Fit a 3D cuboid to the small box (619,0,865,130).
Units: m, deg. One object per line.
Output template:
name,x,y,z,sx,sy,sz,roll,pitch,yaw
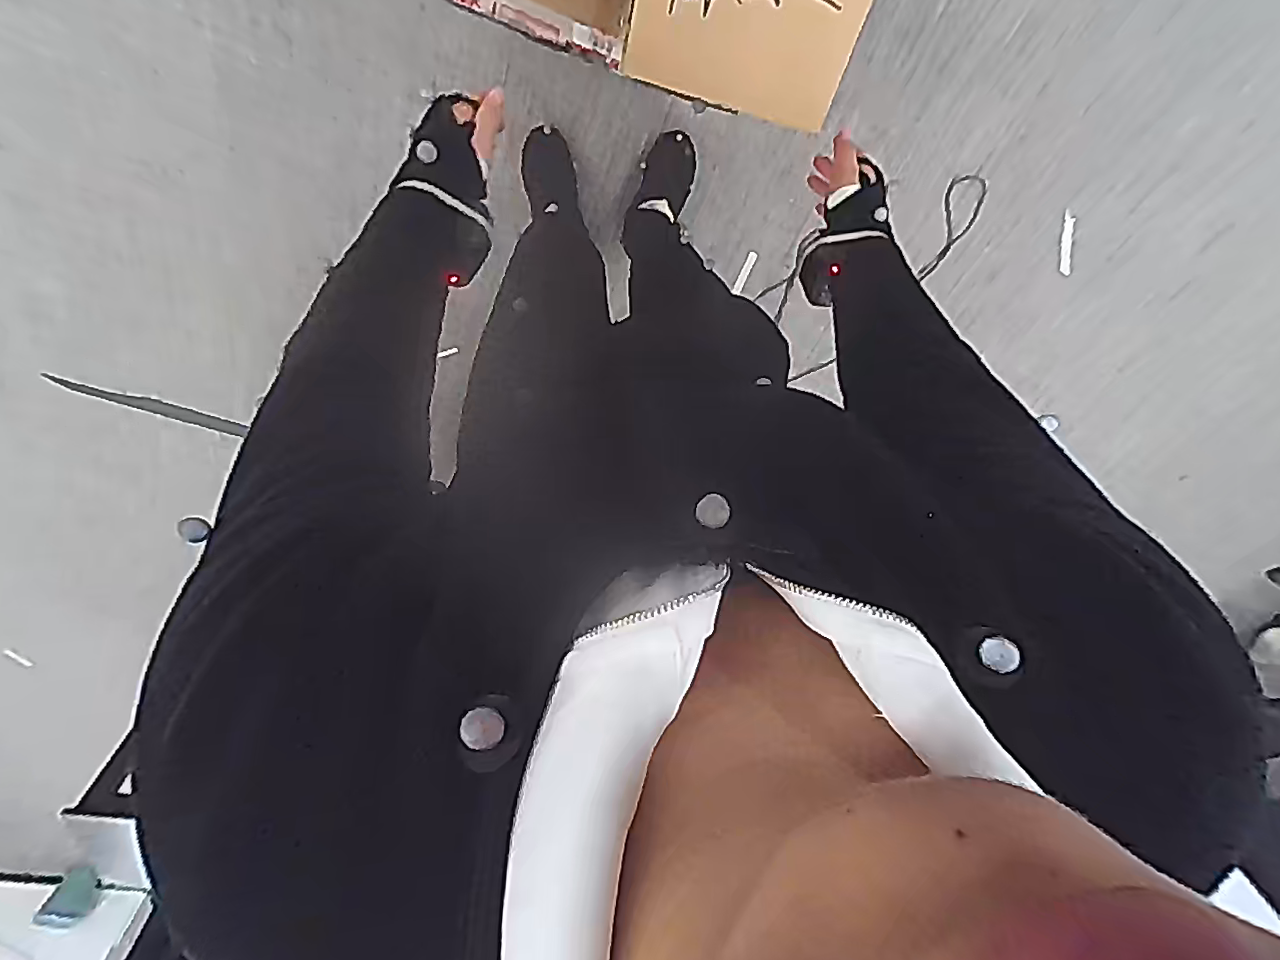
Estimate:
small box,0.086,-0.428,0.460,0.179,0.176,0.168,10,131,-10
